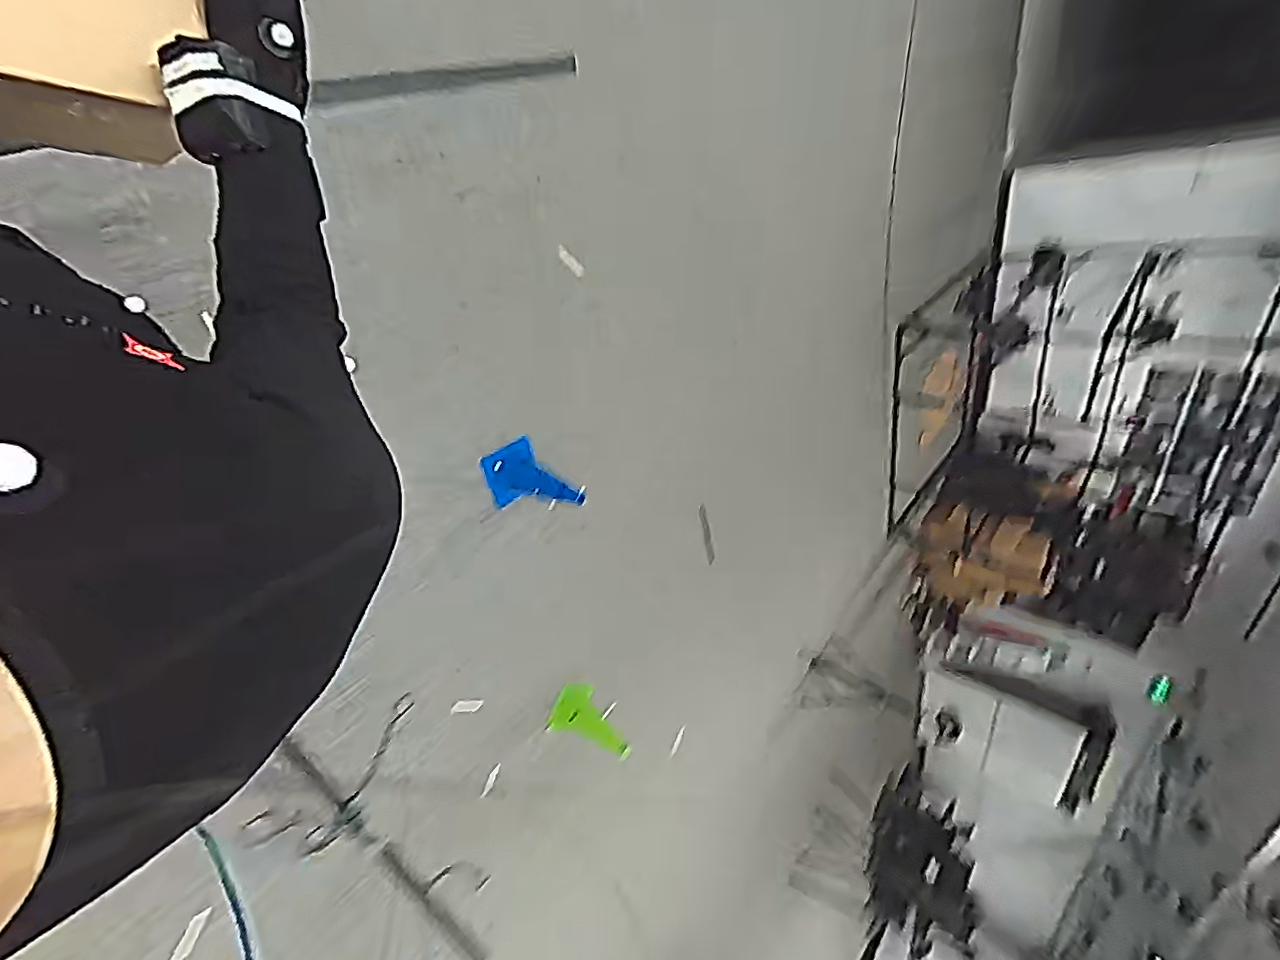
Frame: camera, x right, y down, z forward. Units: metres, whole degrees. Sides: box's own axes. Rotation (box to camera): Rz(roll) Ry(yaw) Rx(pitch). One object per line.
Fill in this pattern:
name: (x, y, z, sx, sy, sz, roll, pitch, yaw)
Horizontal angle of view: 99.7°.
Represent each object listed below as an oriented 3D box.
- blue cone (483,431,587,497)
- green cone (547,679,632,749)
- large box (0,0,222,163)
blue cone: (-0.314, -0.014, 1.724, 0.192, 0.380, 0.193, -36, 128, -36)
green cone: (-0.176, 0.995, 2.218, 0.200, 0.368, 0.202, 32, 78, -50)
large box: (-0.555, -0.417, 0.321, 0.408, 0.320, 0.320, -15, 117, -45)
